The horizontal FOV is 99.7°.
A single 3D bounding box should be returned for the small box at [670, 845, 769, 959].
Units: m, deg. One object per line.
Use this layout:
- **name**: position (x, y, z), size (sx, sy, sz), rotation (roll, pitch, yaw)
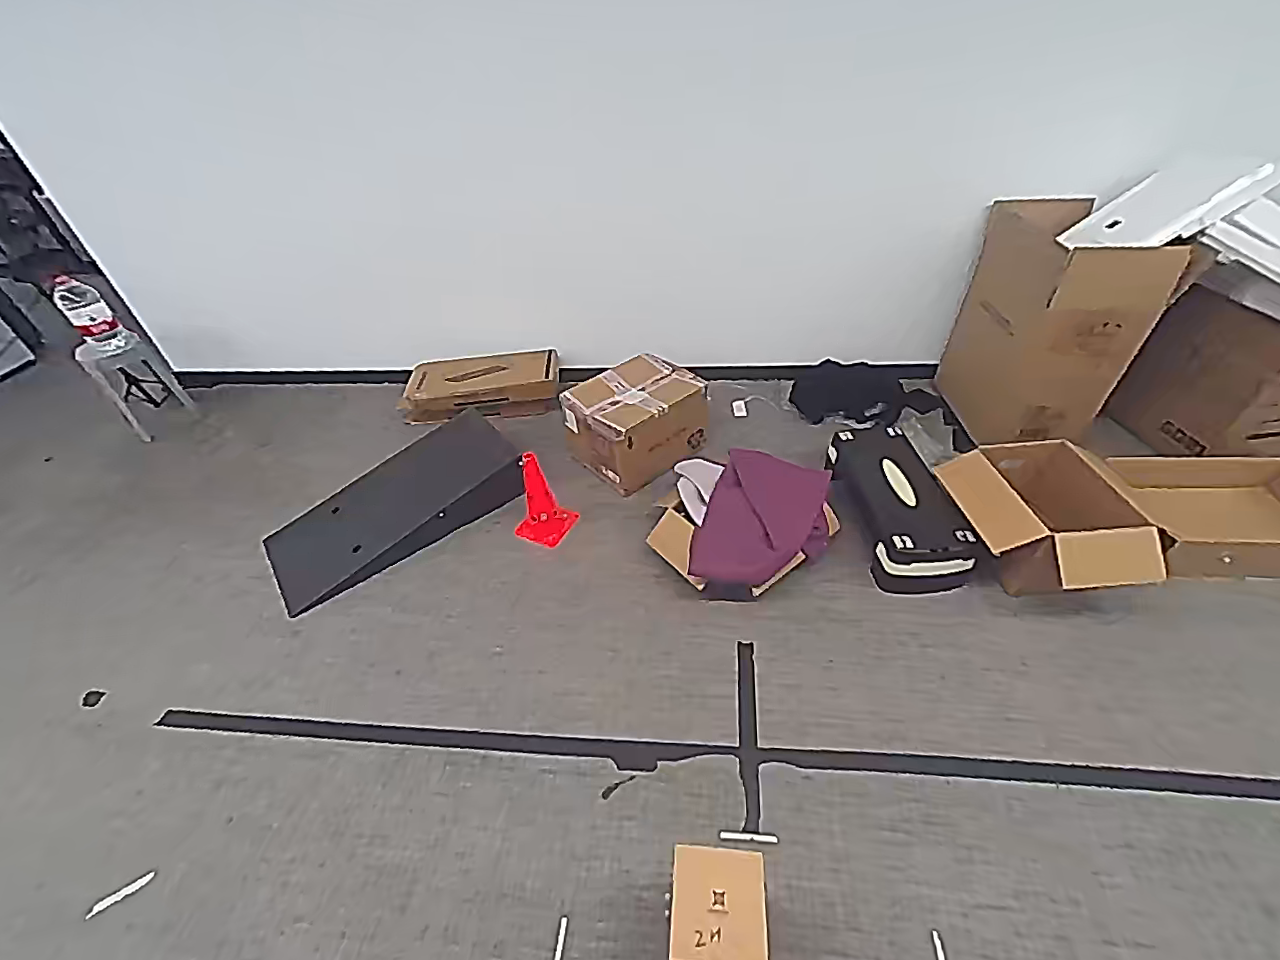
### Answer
- **small box**: position (0.146, 0.811, 1.002), size (0.168, 0.176, 0.179), rotation (0, 41, 8)
